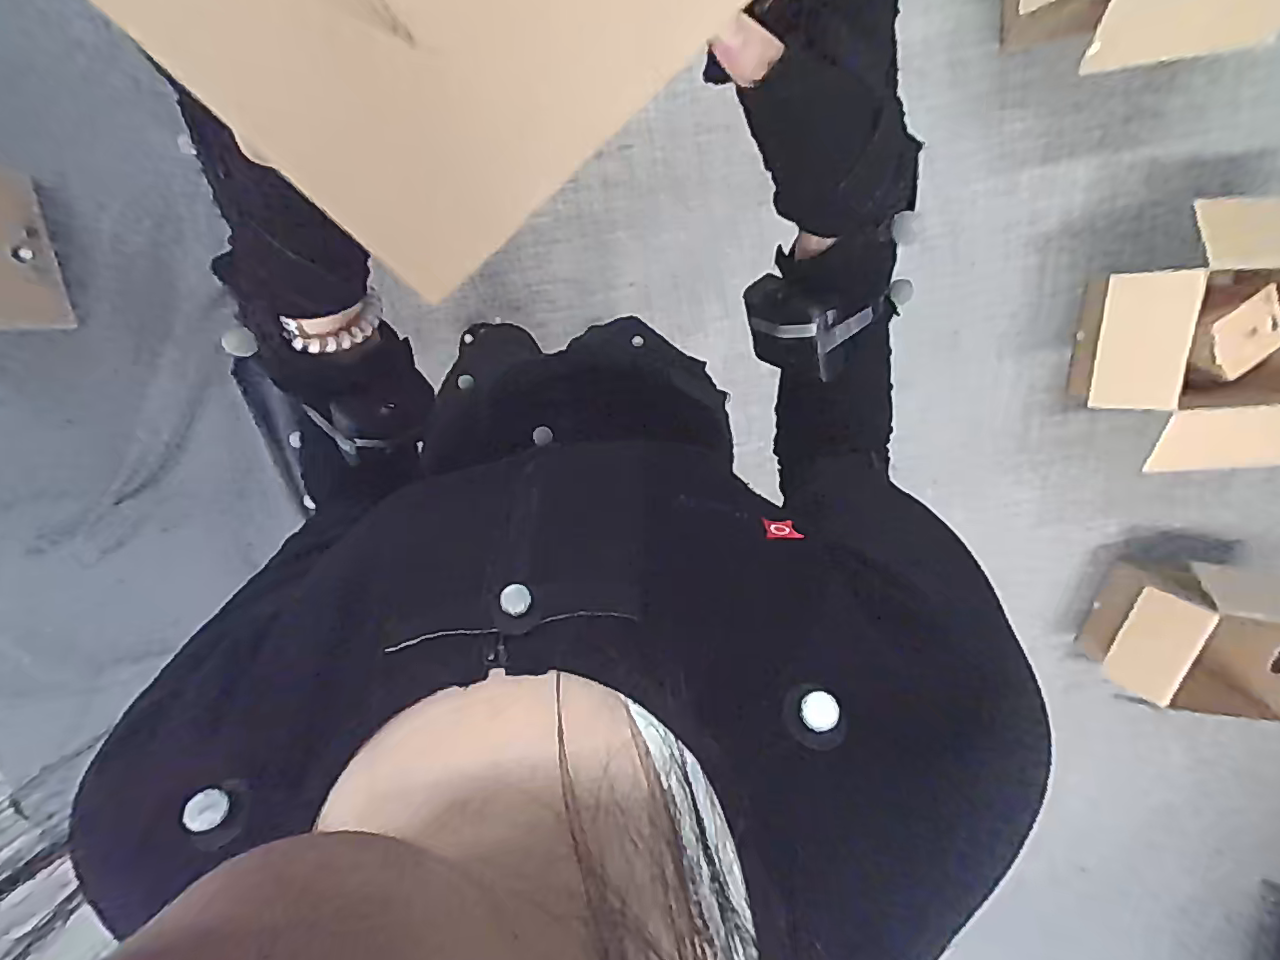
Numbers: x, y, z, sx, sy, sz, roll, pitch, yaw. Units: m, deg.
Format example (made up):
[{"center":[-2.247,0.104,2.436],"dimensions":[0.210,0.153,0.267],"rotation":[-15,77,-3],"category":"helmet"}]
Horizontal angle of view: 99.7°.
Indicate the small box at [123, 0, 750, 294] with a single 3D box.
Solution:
[{"center":[-0.074,-0.199,0.173],"dimensions":[0.179,0.176,0.168],"rotation":[-42,129,6],"category":"small box"}]
